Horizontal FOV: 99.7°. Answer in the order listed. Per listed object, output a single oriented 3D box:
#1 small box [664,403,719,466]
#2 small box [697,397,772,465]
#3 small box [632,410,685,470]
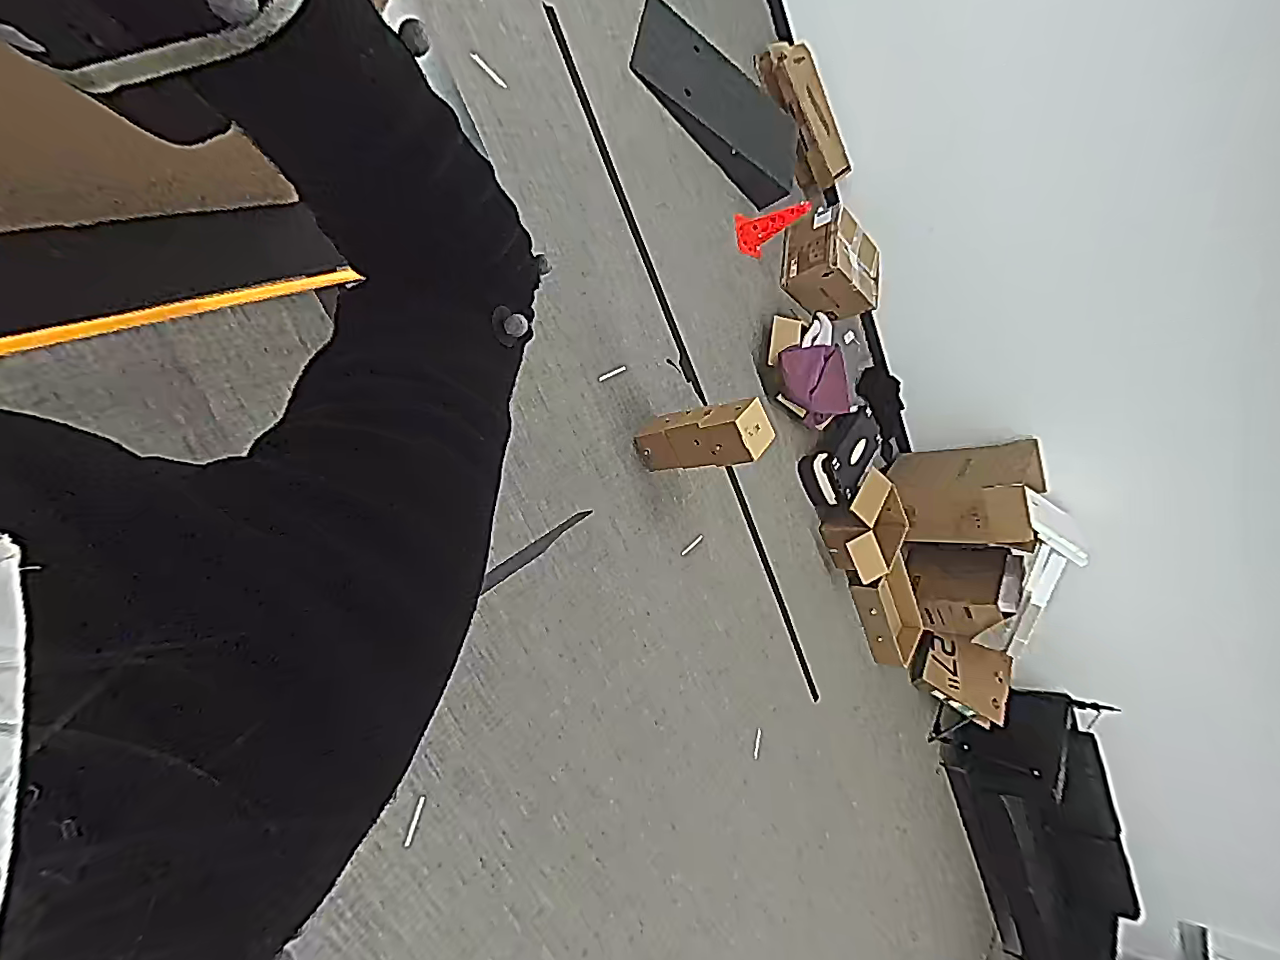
[{"bbox_3d":[0.218,-0.166,2.031,0.168,0.176,0.179,-41,113,-38],"label":"small box"},{"bbox_3d":[0.332,-0.171,1.911,0.179,0.176,0.168,-45,115,-36],"label":"small box"},{"bbox_3d":[0.102,-0.156,2.147,0.179,0.176,0.168,-43,113,-36],"label":"small box"}]
